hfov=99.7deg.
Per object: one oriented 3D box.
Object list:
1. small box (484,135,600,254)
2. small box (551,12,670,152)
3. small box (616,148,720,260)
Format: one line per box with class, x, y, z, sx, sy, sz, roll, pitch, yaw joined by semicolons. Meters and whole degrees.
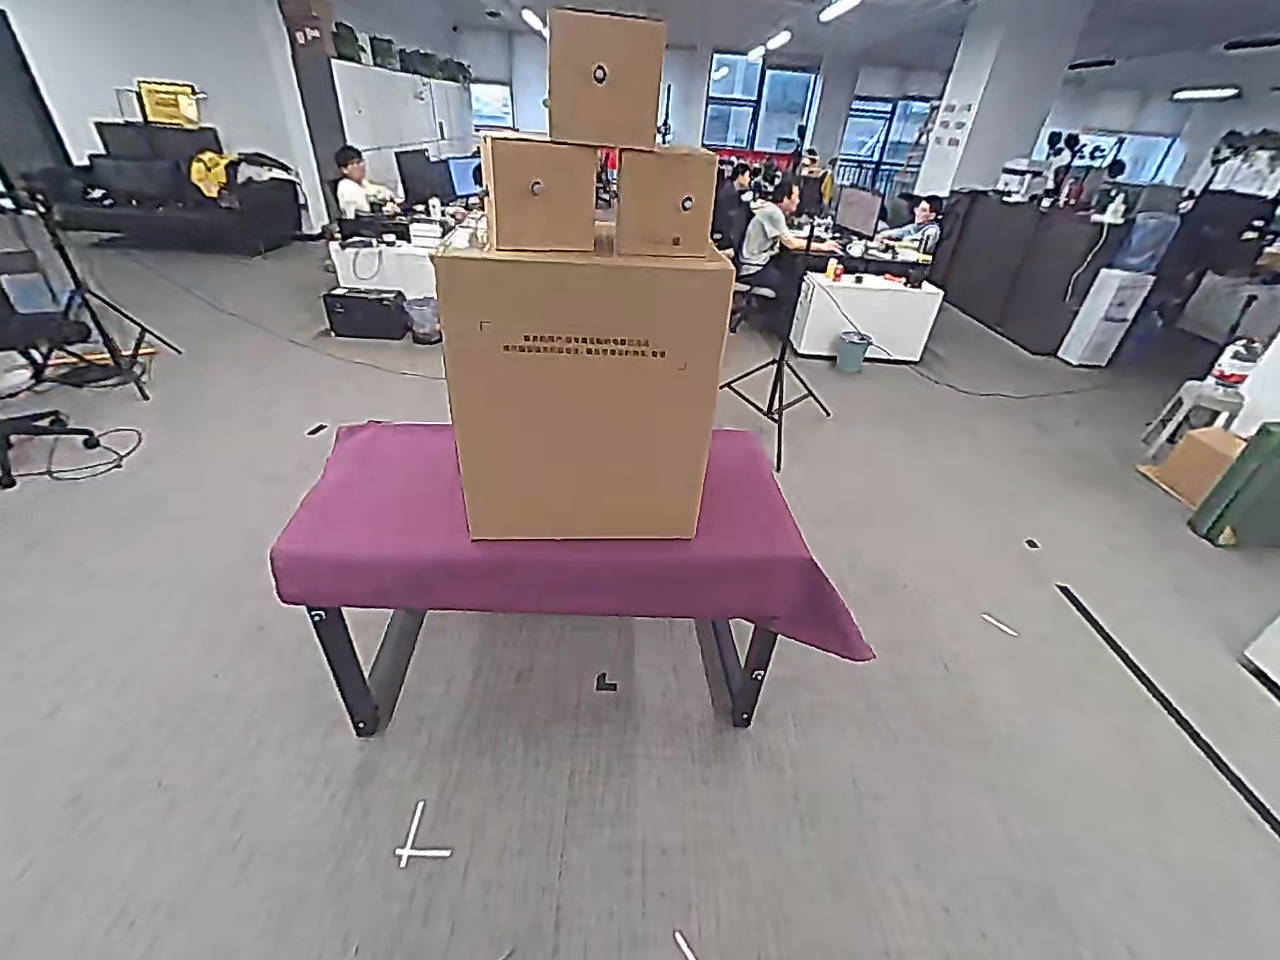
small box;-0.178;-0.513;0.975;0.179;0.176;0.168;-7;36;-19
small box;-0.051;-0.648;0.896;0.179;0.176;0.168;2;34;-4
small box;0.044;-0.518;1.010;0.168;0.176;0.179;1;33;-7
